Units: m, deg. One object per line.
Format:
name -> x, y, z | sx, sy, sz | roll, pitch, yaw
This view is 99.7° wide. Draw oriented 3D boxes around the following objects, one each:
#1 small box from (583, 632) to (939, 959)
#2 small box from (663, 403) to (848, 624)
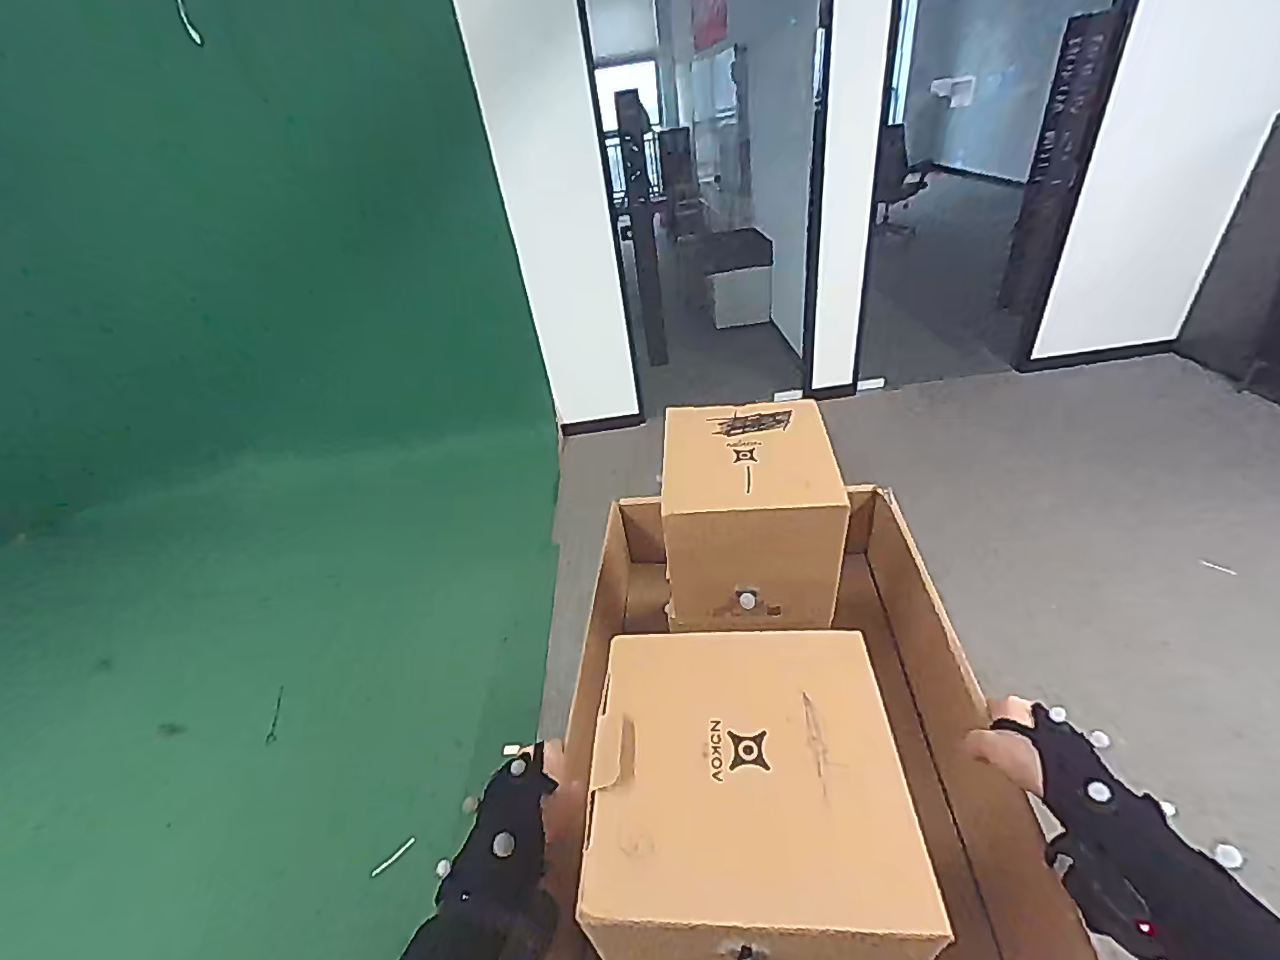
small box -> 0.070, 0.224, 0.373 | 0.179, 0.176, 0.168 | -3, 39, 6
small box -> 0.117, 0.035, 0.593 | 0.168, 0.176, 0.179 | -3, 41, 8
